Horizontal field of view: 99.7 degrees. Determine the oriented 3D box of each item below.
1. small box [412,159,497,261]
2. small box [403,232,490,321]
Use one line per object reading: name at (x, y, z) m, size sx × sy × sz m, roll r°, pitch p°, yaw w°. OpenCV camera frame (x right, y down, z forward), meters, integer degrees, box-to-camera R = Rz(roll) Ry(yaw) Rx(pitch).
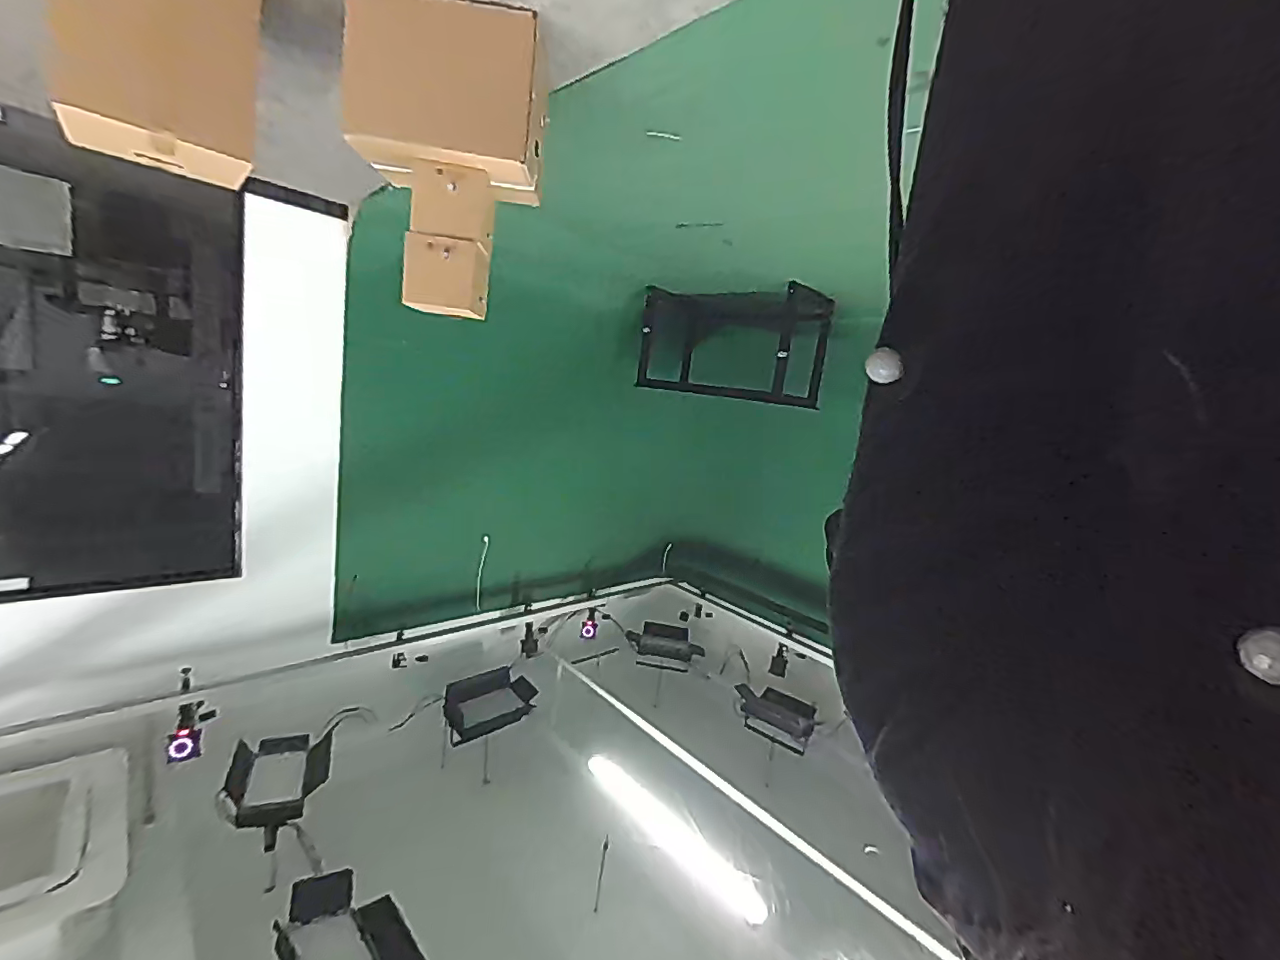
small box at (-0.461, -0.674, 1.364) m, size 0.168 × 0.176 × 0.179 m, roll 7°, pitch -172°, yaw -8°
small box at (-0.487, -0.514, 1.381) m, size 0.168 × 0.176 × 0.179 m, roll 6°, pitch -172°, yaw -5°
